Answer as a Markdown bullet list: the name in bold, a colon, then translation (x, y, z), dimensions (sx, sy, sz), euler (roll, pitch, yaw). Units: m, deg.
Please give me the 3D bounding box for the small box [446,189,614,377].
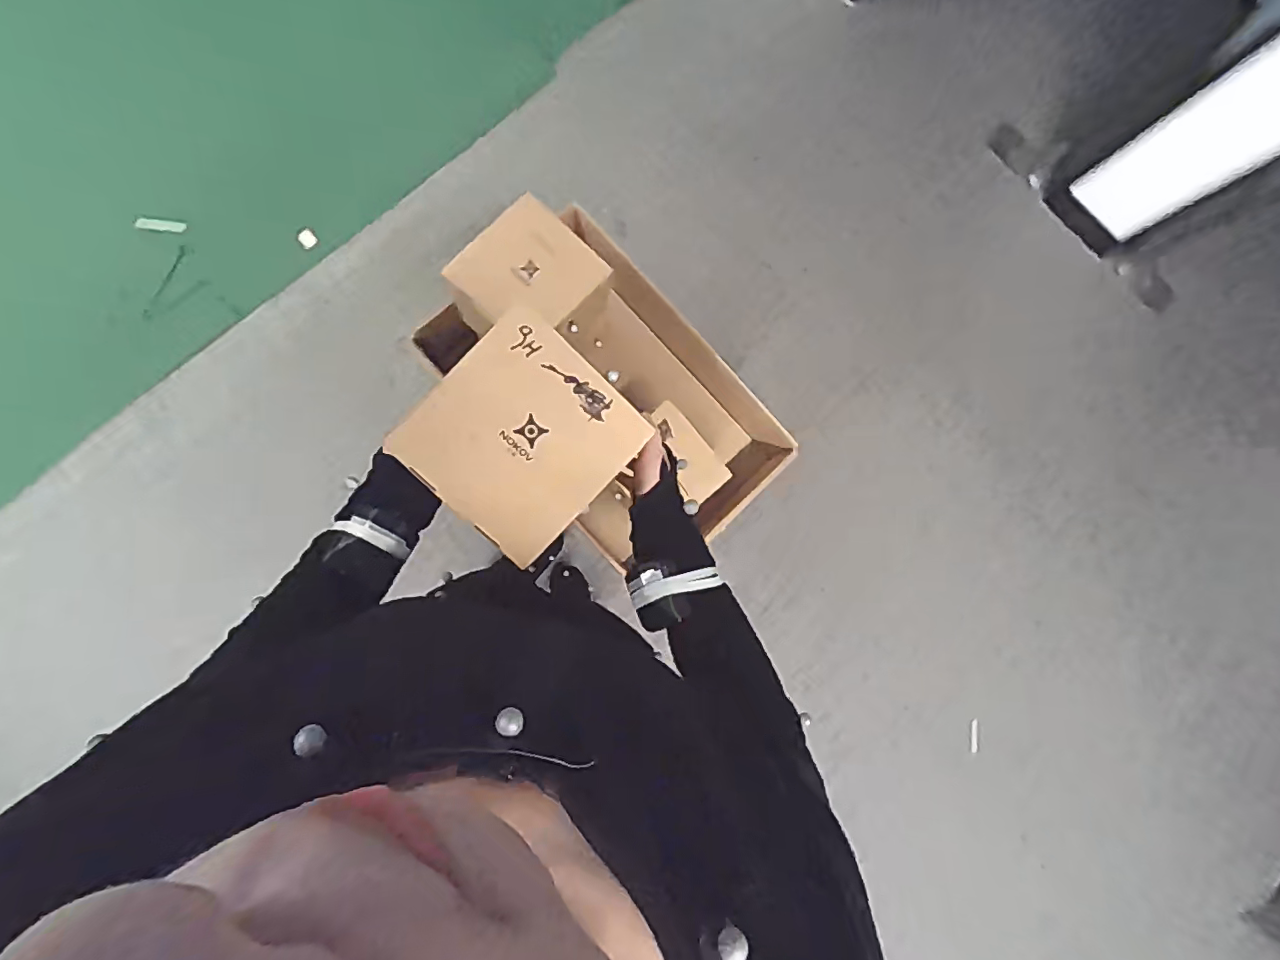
- **small box**: translation (-0.158, -0.286, 0.827), dimensions (0.168, 0.176, 0.179), euler (44, 81, -2)
